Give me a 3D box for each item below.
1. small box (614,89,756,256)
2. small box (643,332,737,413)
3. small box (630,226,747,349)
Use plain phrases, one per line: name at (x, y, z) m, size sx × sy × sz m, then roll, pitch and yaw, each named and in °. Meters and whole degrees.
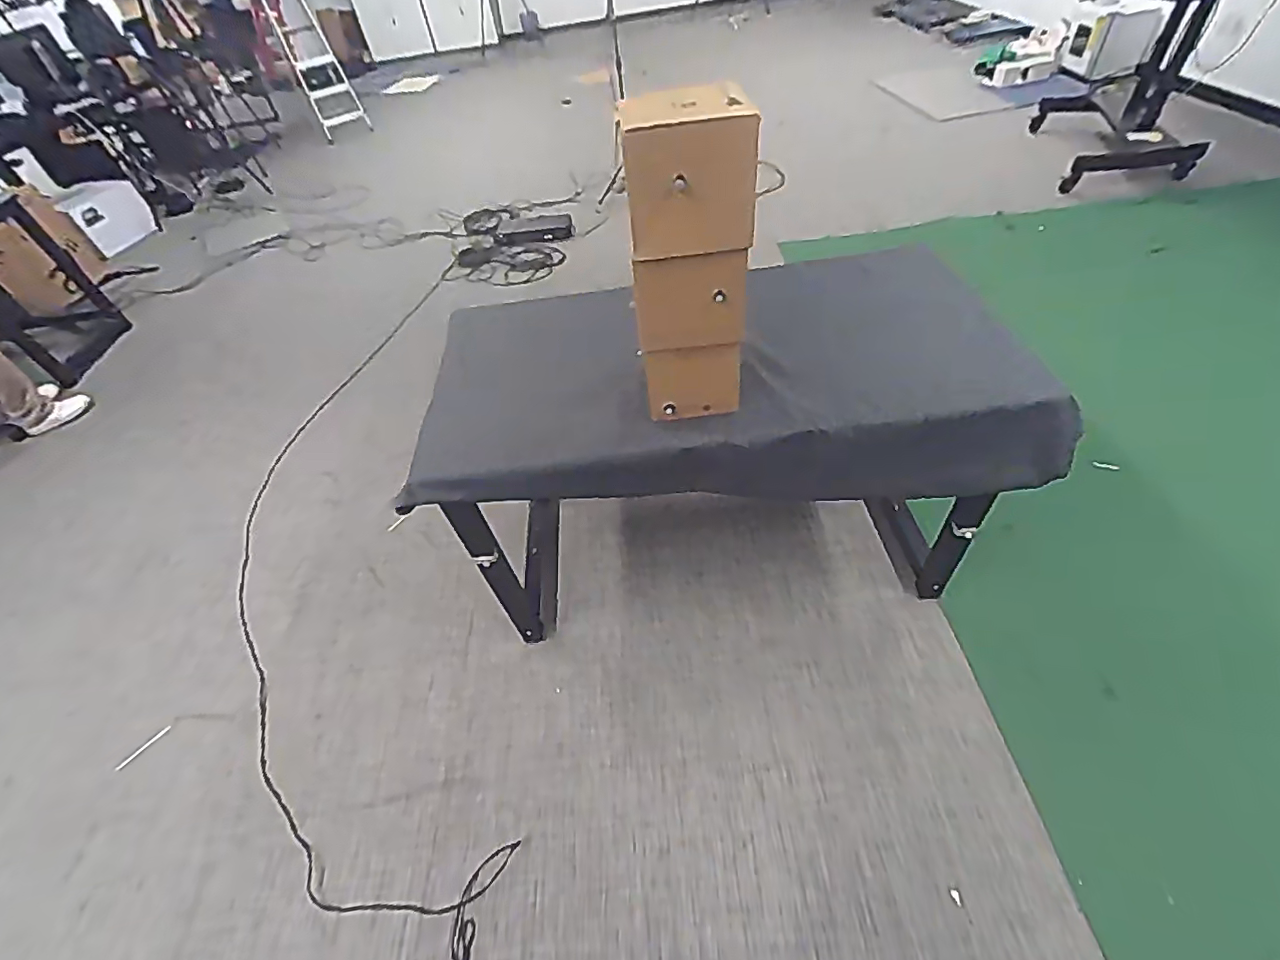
small box at (0.064, -0.443, 0.787) m, size 0.179 × 0.176 × 0.168 m, roll -8°, pitch 45°, yaw 0°
small box at (0.091, -0.244, 1.042) m, size 0.168 × 0.176 × 0.179 m, roll -9°, pitch 49°, yaw 1°
small box at (0.080, -0.341, 0.912) m, size 0.179 × 0.176 × 0.168 m, roll -6°, pitch 46°, yaw 5°
